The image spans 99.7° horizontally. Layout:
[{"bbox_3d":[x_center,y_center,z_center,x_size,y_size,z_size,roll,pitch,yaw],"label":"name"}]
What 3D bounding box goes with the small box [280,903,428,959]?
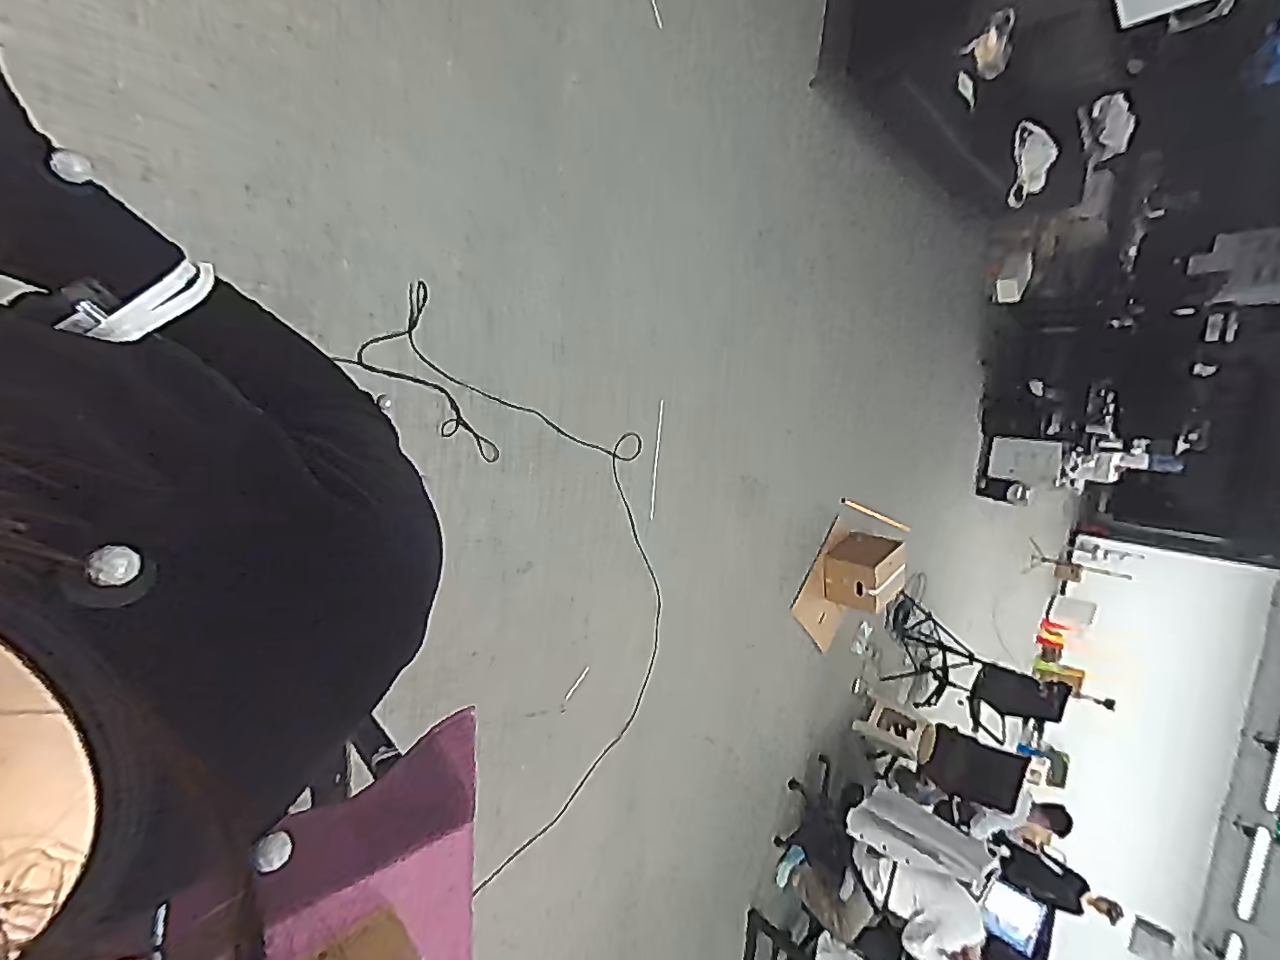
[{"bbox_3d":[-0.413,0.769,0.782,0.168,0.176,0.179,-7,105,-42],"label":"small box"}]
